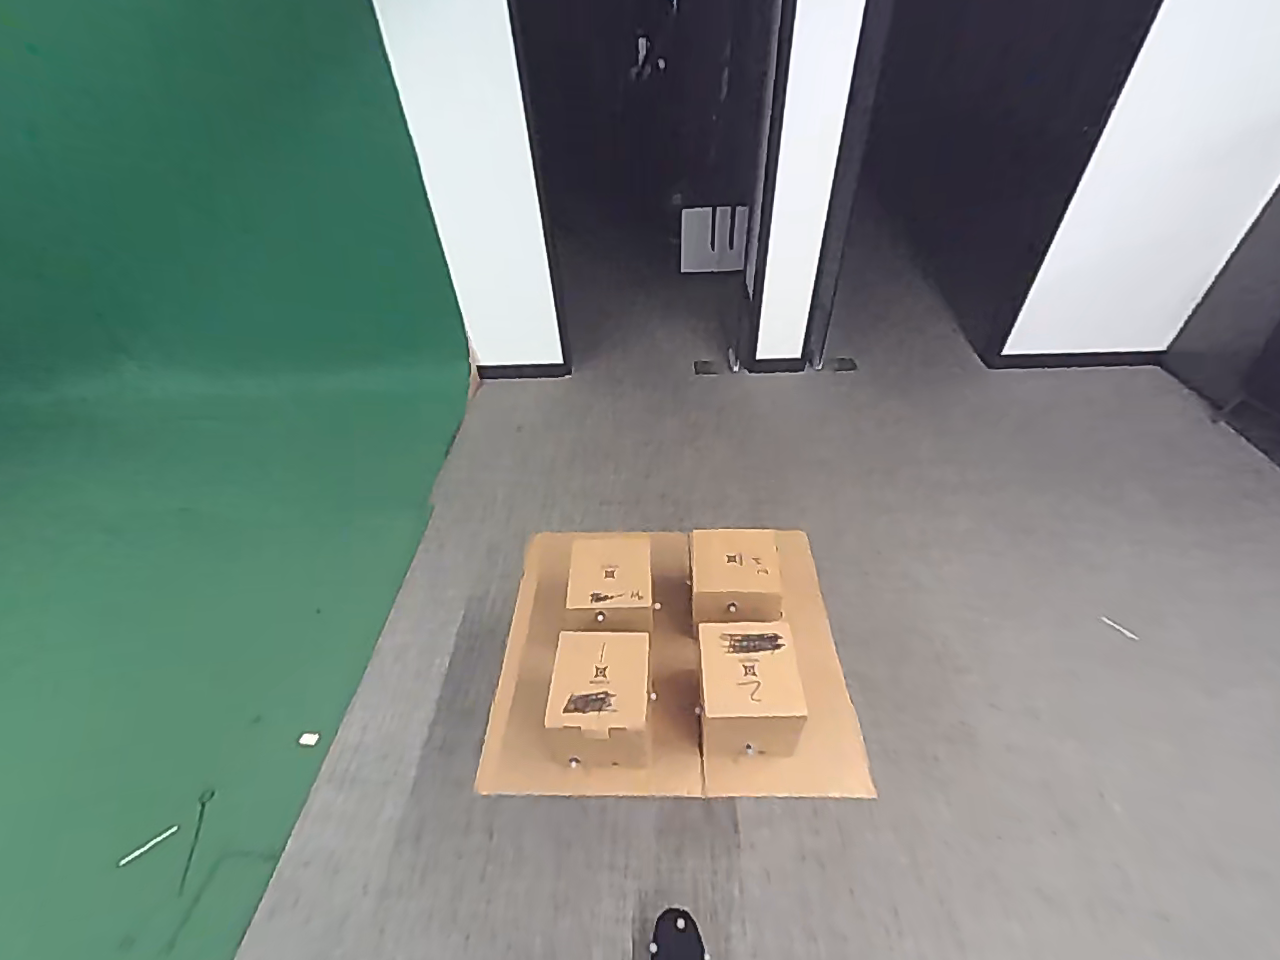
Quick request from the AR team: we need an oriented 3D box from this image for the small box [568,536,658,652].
[{"bbox_3d":[-0.050,0.240,1.137,0.168,0.176,0.179,-3,41,3],"label":"small box"}]
